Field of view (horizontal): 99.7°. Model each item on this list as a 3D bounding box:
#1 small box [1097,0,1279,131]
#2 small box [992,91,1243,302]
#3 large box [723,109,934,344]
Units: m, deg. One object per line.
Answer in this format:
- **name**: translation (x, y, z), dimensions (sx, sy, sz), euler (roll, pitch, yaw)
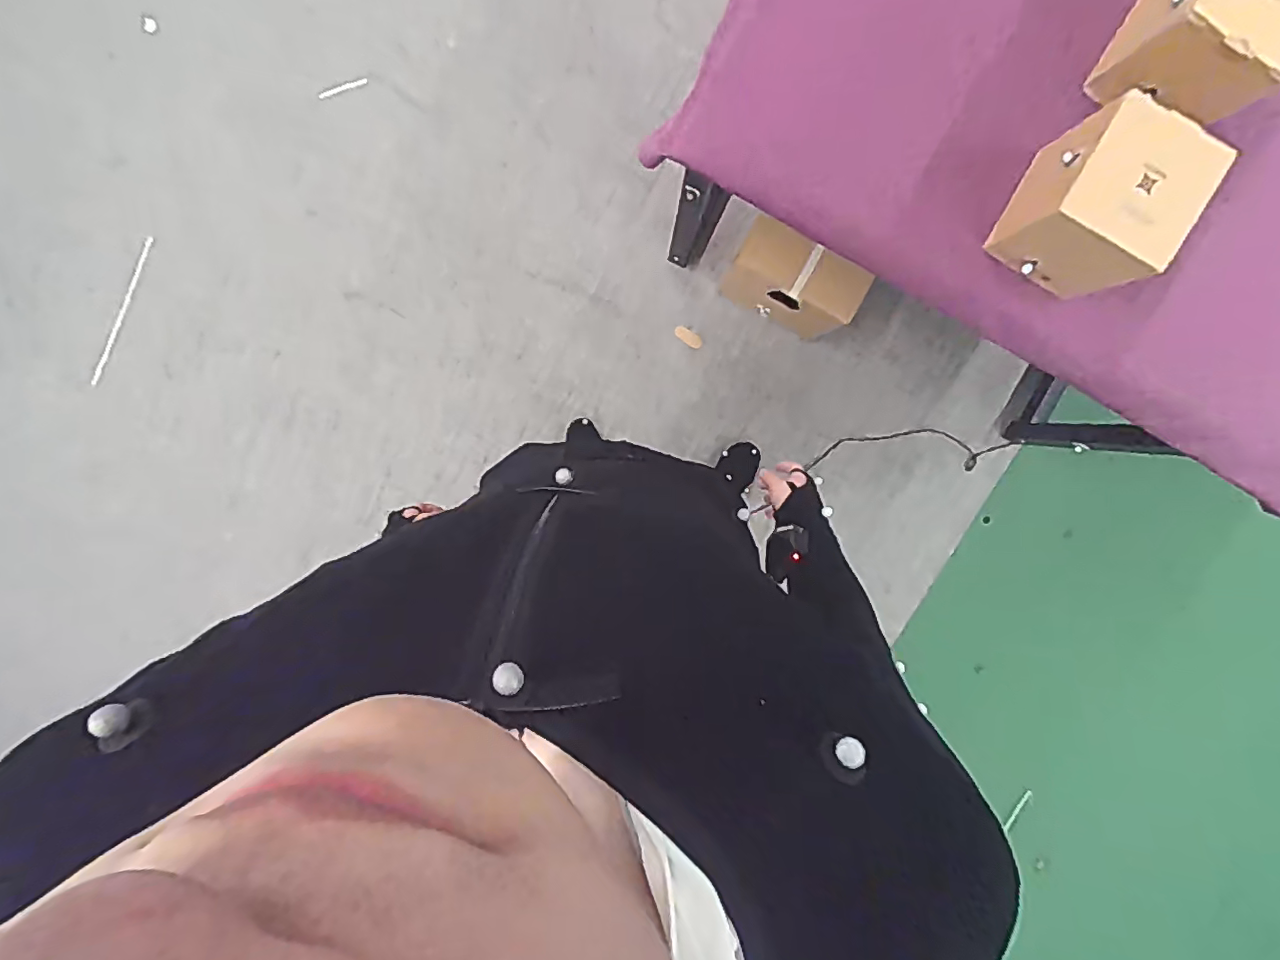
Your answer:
- **small box**: translation (0.796, -0.617, 0.741), dimensions (0.168, 0.176, 0.179), euler (30, 97, -4)
- **small box**: translation (0.653, -0.383, 0.766), dimensions (0.168, 0.176, 0.179), euler (30, 95, -2)
- **large box**: translation (0.457, -0.620, 1.406), dimensions (0.320, 0.320, 0.408), euler (28, 95, -4)
